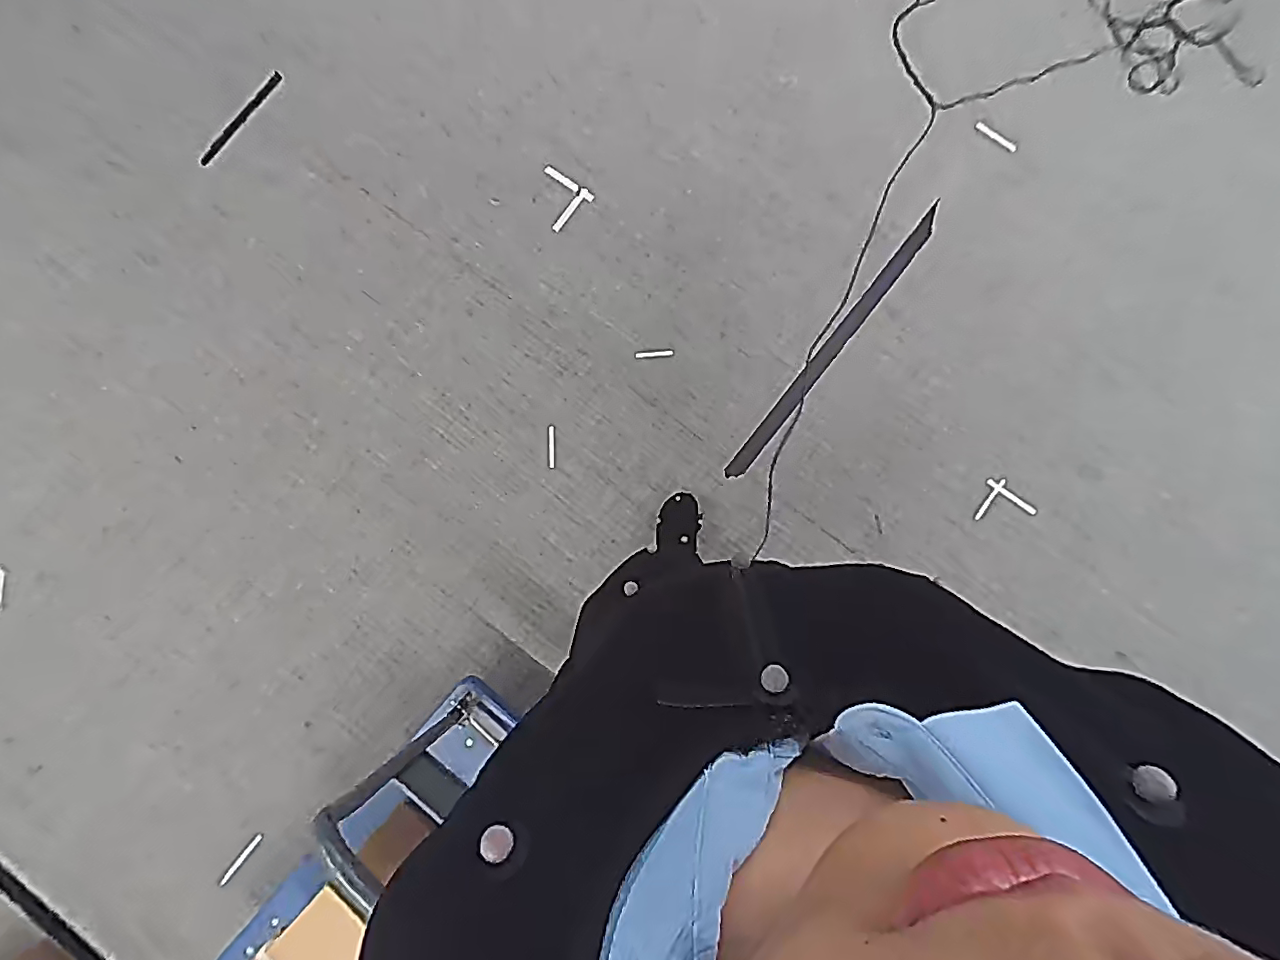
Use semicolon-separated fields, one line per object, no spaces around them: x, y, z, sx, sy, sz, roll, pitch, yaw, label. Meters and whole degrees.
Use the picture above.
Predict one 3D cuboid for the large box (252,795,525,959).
-0.505;0.956;1.095;0.408;0.320;0.320;42;86;4;large box
